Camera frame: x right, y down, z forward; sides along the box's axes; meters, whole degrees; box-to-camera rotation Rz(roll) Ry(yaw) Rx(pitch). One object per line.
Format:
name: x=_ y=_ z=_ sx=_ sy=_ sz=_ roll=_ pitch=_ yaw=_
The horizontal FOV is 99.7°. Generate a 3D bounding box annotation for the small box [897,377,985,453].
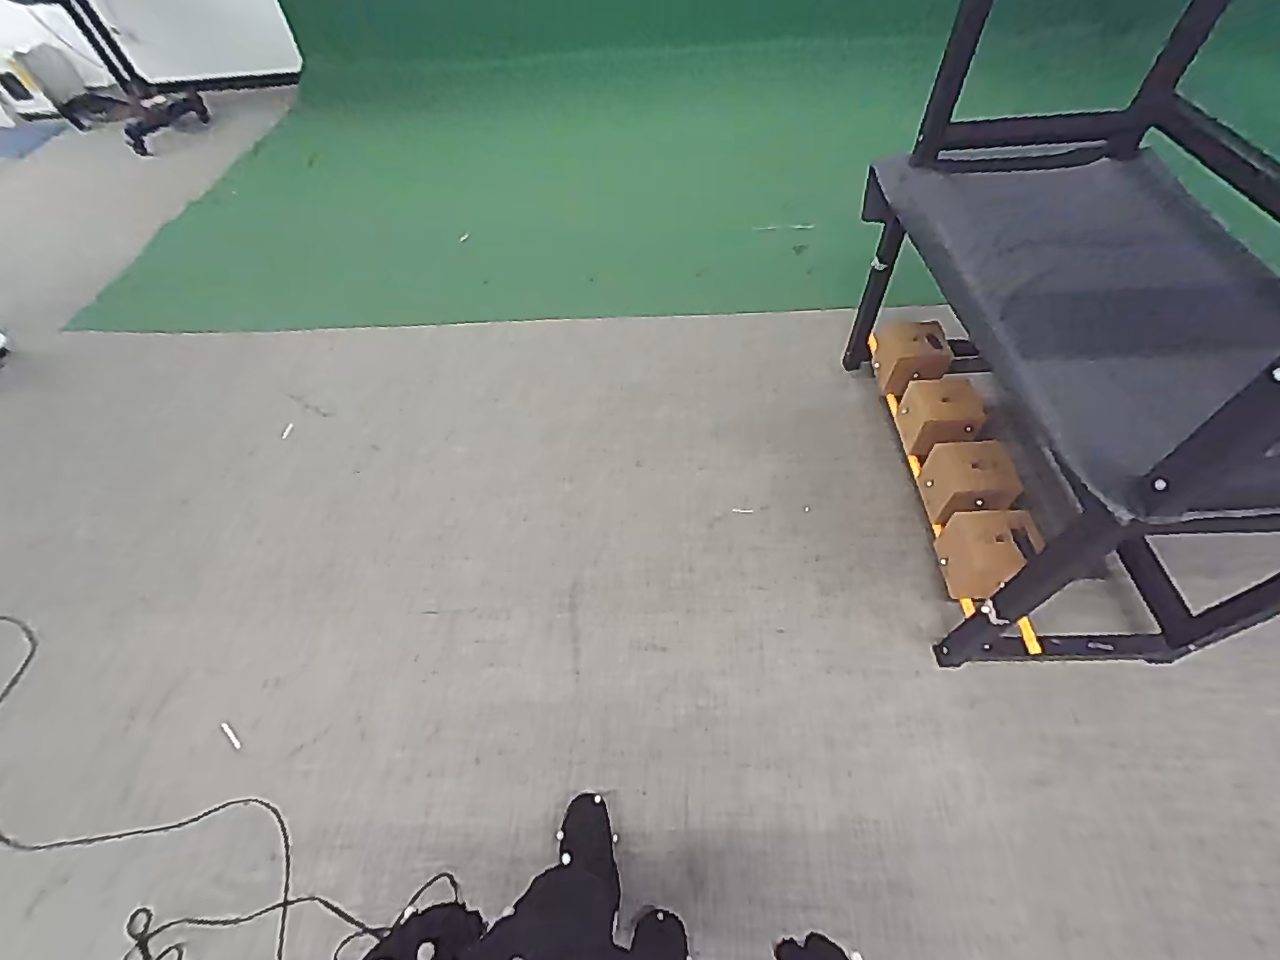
small box: x=0.906 y=-0.195 z=1.652 sx=0.179 sy=0.176 sz=0.168 roll=-1 pitch=55 yaw=5

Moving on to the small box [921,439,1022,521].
small box: x=0.907 y=0.003 z=1.506 sx=0.179 sy=0.176 sz=0.168 roll=-2 pitch=54 yaw=4
